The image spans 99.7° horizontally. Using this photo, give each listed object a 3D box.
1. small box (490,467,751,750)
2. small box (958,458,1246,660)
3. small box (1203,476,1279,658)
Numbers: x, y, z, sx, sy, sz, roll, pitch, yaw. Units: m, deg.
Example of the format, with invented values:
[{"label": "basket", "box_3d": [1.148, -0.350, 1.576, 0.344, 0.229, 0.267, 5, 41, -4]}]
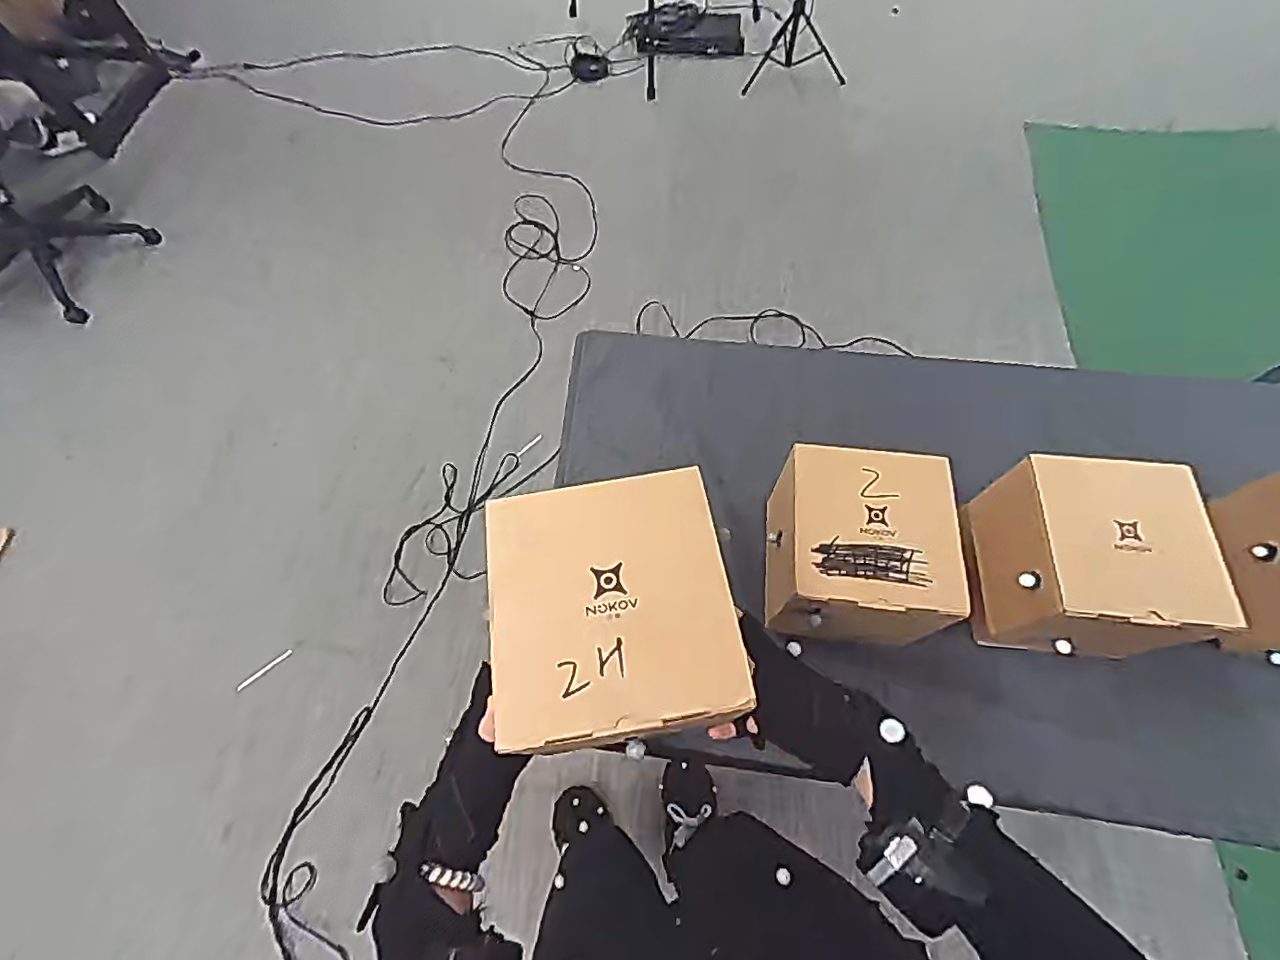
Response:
[{"label": "small box", "box_3d": [-0.019, 0.113, 0.443, 0.168, 0.176, 0.179, -8, 62, -1]}, {"label": "small box", "box_3d": [0.491, 0.095, 0.614, 0.168, 0.176, 0.179, 5, 65, 4]}, {"label": "small box", "box_3d": [0.774, 0.103, 0.597, 0.168, 0.176, 0.179, 4, 63, 4]}]
